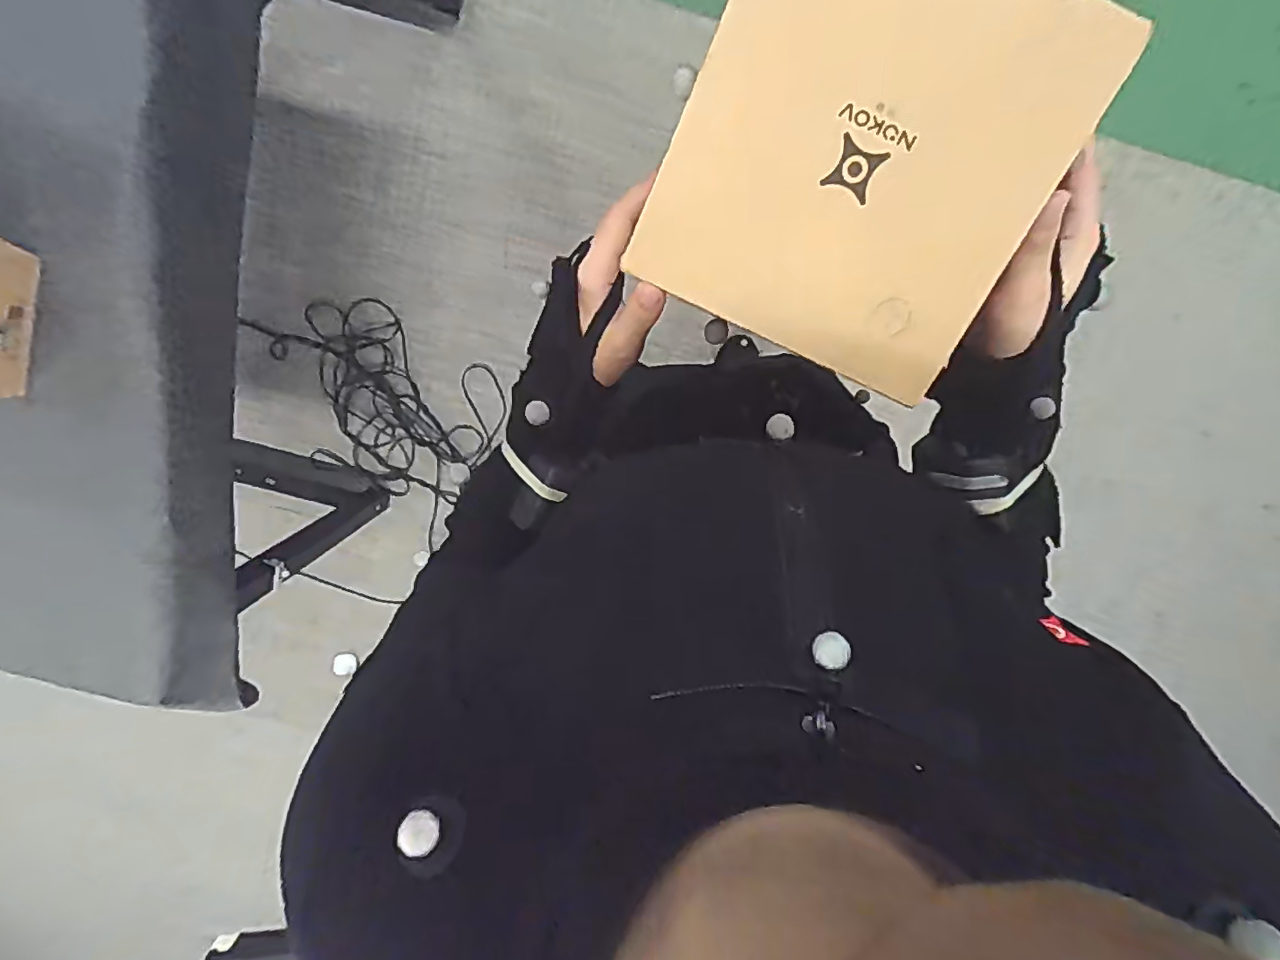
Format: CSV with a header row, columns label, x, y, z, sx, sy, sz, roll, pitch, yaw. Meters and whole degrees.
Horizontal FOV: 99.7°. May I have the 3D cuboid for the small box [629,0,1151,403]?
label,x,y,z,sx,sy,sz,roll,pitch,yaw
small box,0.111,-0.169,0.320,0.168,0.176,0.179,25,108,-2
